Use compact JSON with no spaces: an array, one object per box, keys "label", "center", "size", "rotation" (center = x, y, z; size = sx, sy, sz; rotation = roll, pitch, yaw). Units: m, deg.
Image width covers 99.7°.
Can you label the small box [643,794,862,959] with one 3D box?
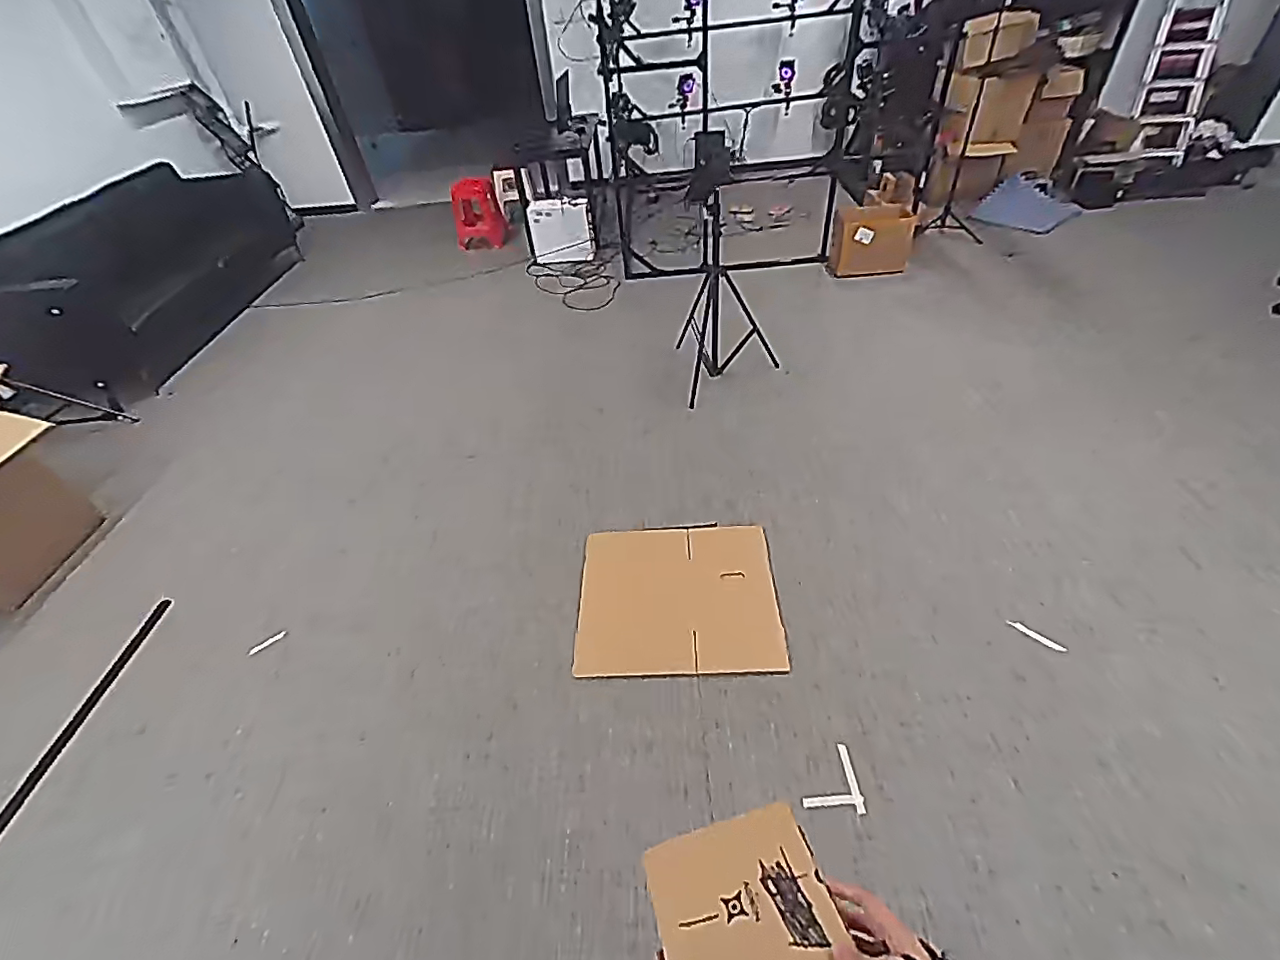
[{"label":"small box","center":[0.115,0.486,0.581],"size":[0.179,0.176,0.168],"rotation":[-16,30,-5]}]
